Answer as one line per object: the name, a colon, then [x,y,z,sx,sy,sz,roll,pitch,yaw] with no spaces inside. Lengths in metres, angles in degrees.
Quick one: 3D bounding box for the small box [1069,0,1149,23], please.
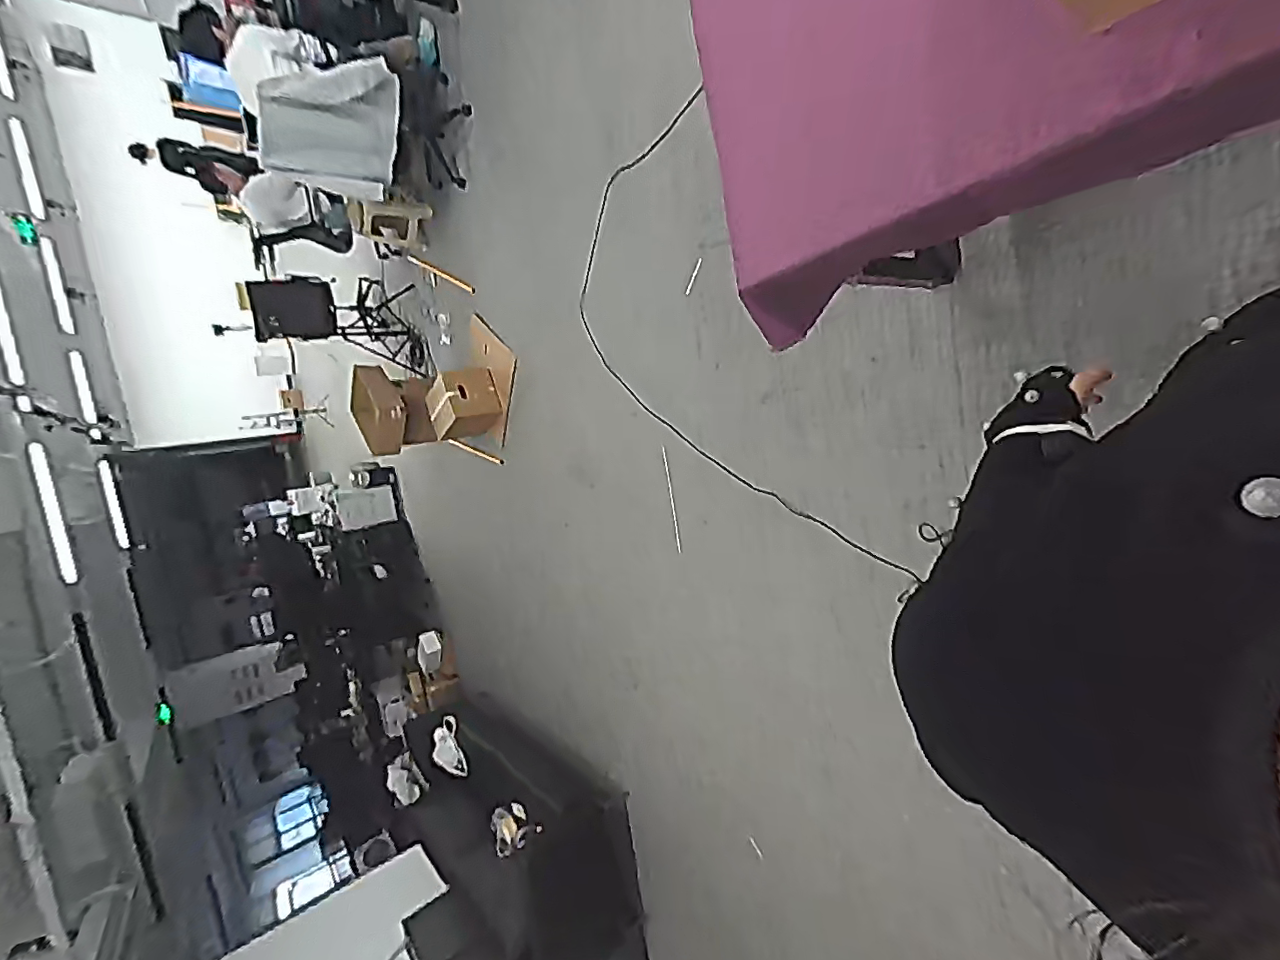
small box: [0.454,-0.538,0.449,0.179,0.176,0.168,1,102,52]
